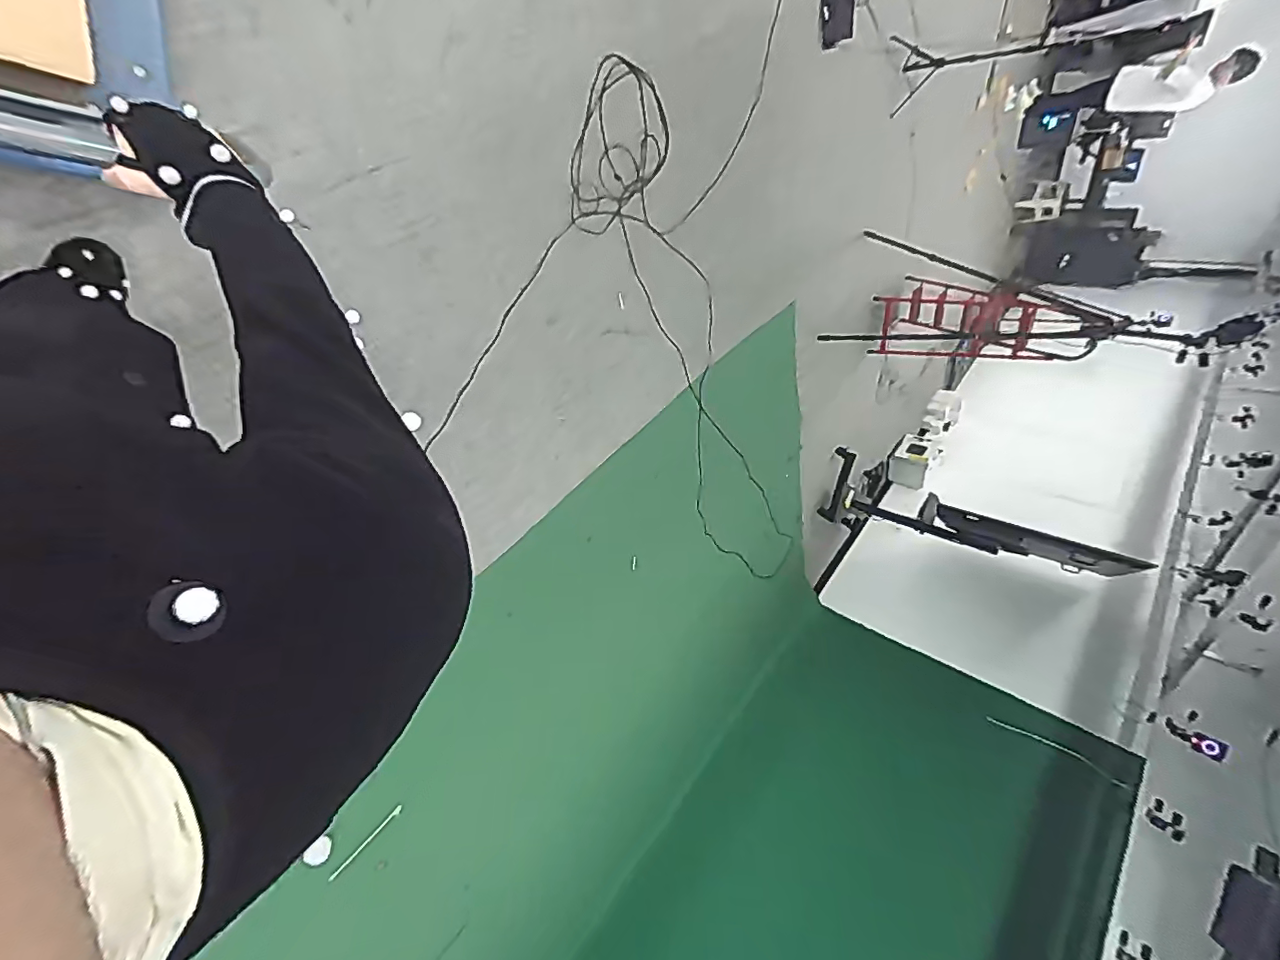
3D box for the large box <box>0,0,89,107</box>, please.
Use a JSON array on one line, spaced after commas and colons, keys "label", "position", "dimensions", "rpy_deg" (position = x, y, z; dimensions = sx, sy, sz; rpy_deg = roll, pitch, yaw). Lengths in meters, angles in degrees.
[{"label": "large box", "position": [-0.949, -0.755, 0.667], "dimensions": [0.320, 0.320, 0.408], "rpy_deg": [-13, 116, -48]}]
